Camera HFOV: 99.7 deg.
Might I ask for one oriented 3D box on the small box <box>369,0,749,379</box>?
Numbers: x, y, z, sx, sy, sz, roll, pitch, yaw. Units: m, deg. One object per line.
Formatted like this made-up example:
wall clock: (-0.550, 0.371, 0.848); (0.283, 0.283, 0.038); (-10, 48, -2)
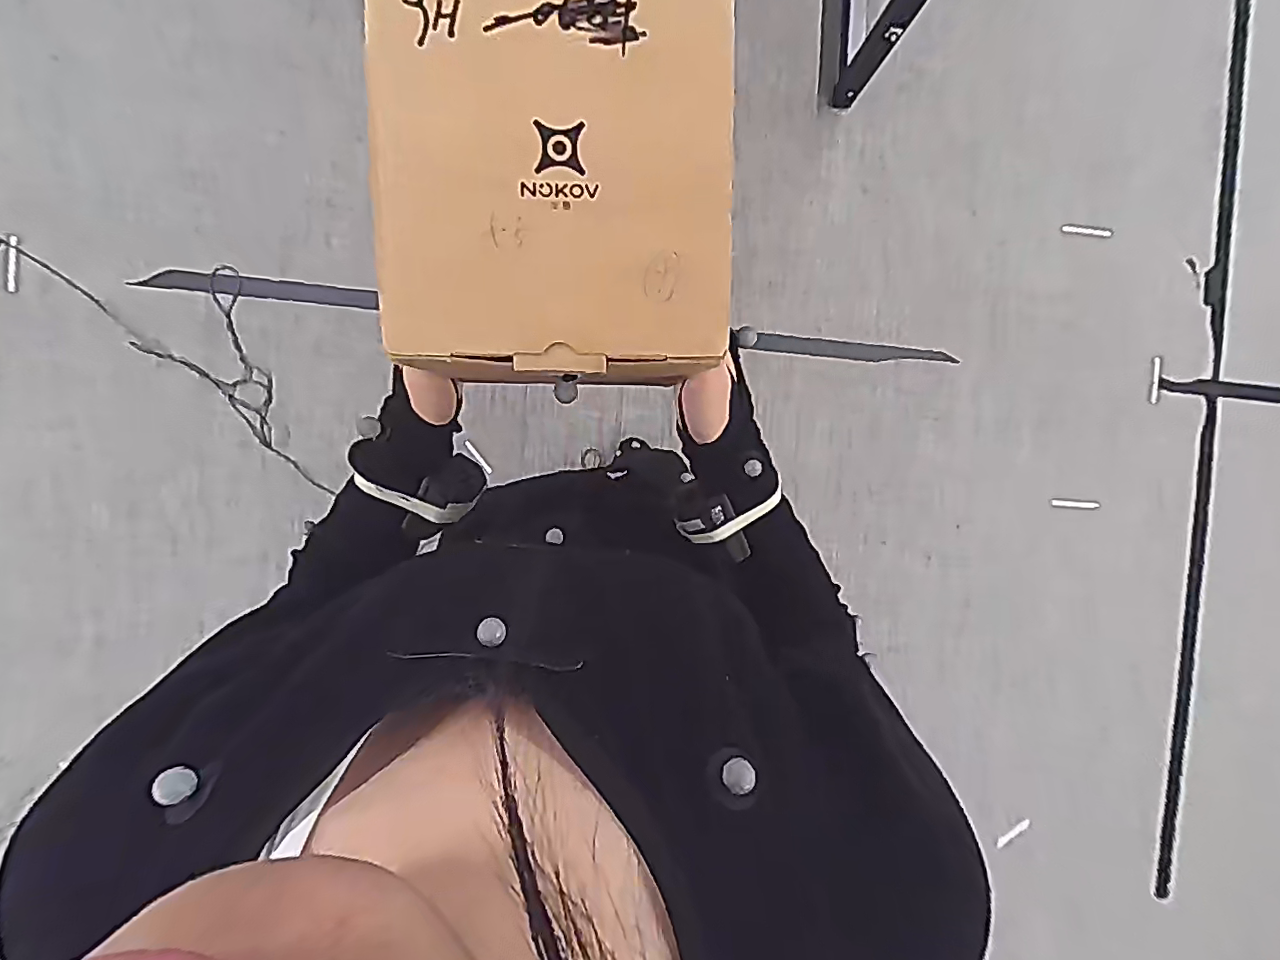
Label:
small box: (-0.042, -0.152, 0.321); (0.168, 0.176, 0.179); (0, 97, -7)

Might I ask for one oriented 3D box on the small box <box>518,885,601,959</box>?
small box: (-0.190, 1.086, 1.262); (0.179, 0.176, 0.168); (7, 92, -7)

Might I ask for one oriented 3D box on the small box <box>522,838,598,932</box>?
small box: (-0.209, 1.078, 1.425); (0.179, 0.176, 0.168); (6, 91, -7)
